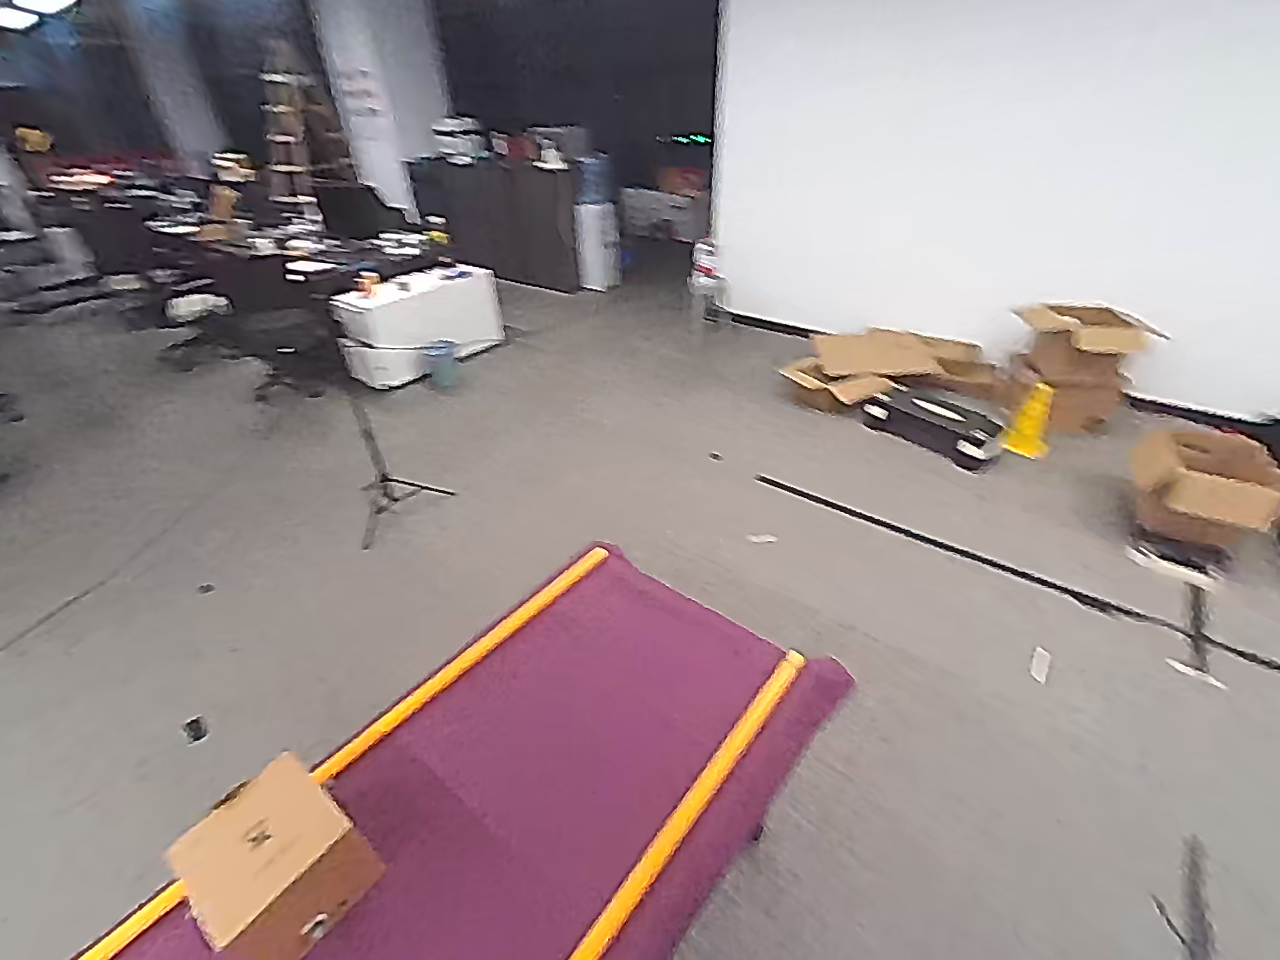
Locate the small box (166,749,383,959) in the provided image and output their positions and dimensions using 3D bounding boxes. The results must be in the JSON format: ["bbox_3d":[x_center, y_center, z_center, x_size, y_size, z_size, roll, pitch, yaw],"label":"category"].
[{"bbox_3d":[-0.501,0.532,0.760,0.179,0.176,0.168,23,44,29],"label":"small box"}]
